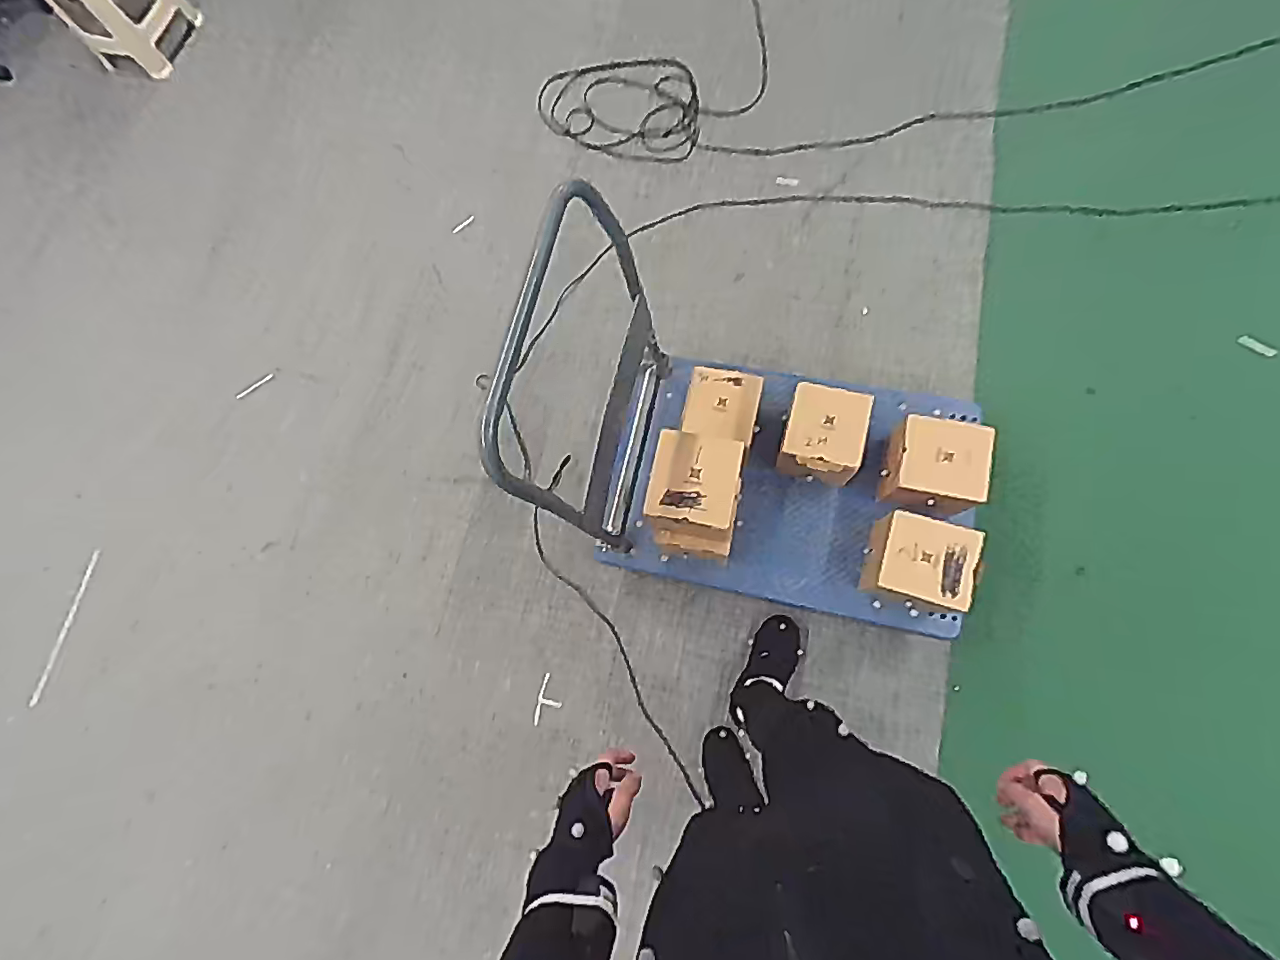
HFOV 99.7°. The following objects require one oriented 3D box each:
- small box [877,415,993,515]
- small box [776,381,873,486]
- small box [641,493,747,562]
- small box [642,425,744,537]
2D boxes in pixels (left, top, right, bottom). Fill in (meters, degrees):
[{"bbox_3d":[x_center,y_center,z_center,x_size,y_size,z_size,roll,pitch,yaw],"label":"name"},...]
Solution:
[{"bbox_3d":[0.650,-0.027,1.211,0.179,0.176,0.168,13,78,11],"label":"small box"},{"bbox_3d":[0.422,-0.104,1.261,0.168,0.176,0.179,15,78,12],"label":"small box"},{"bbox_3d":[0.128,0.075,1.262,0.179,0.176,0.168,42,86,16],"label":"small box"},{"bbox_3d":[0.111,0.010,1.102,0.168,0.176,0.179,11,77,9],"label":"small box"}]
